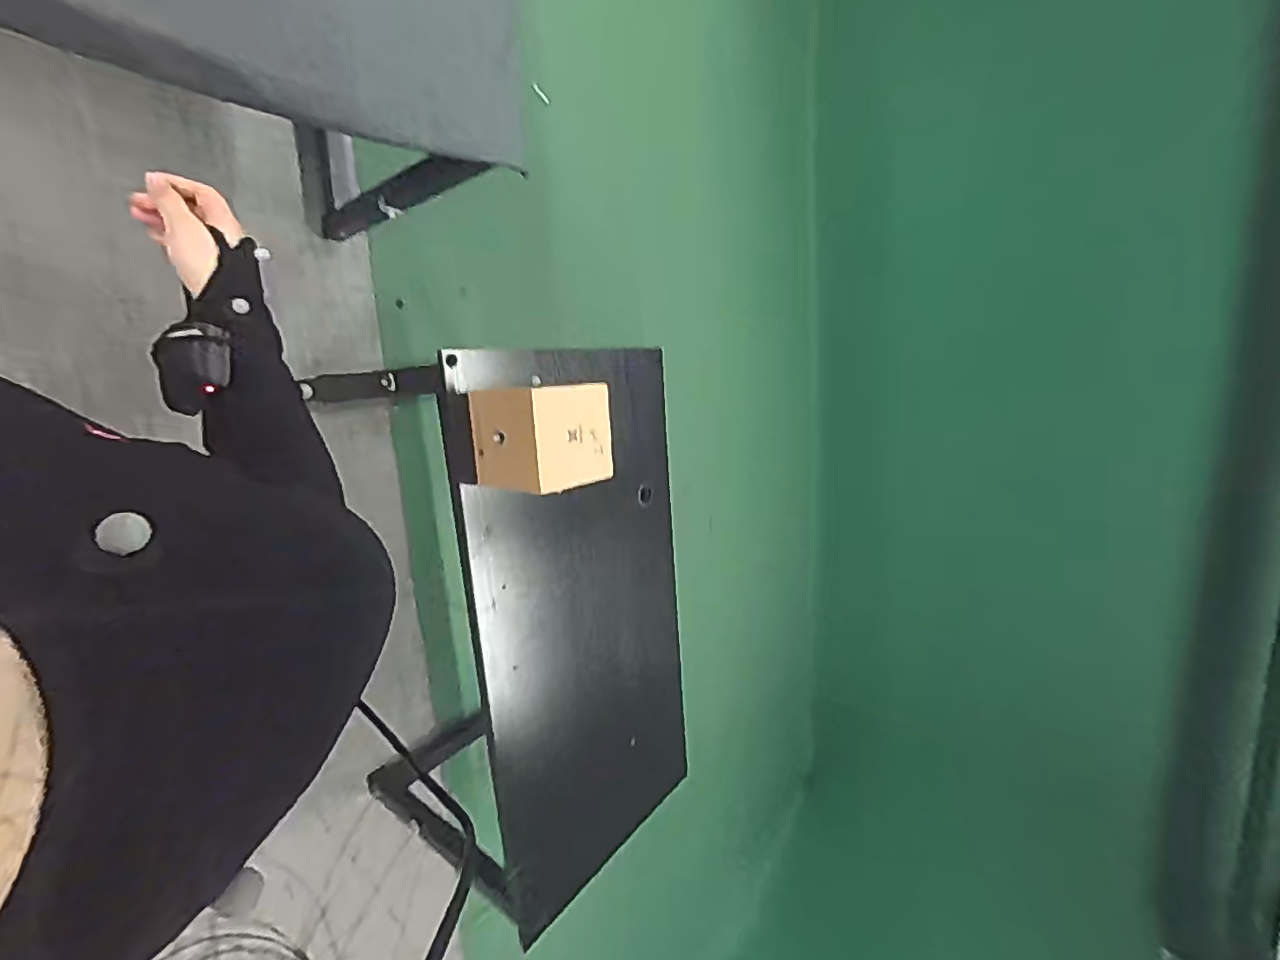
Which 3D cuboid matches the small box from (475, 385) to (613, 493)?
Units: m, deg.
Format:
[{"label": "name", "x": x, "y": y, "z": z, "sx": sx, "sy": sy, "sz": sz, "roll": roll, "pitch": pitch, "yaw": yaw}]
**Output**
[{"label": "small box", "x": -0.169, "y": -0.077, "z": 0.937, "sx": 0.179, "sy": 0.176, "sz": 0.168, "roll": -15, "pitch": 107, "yaw": -50}]
